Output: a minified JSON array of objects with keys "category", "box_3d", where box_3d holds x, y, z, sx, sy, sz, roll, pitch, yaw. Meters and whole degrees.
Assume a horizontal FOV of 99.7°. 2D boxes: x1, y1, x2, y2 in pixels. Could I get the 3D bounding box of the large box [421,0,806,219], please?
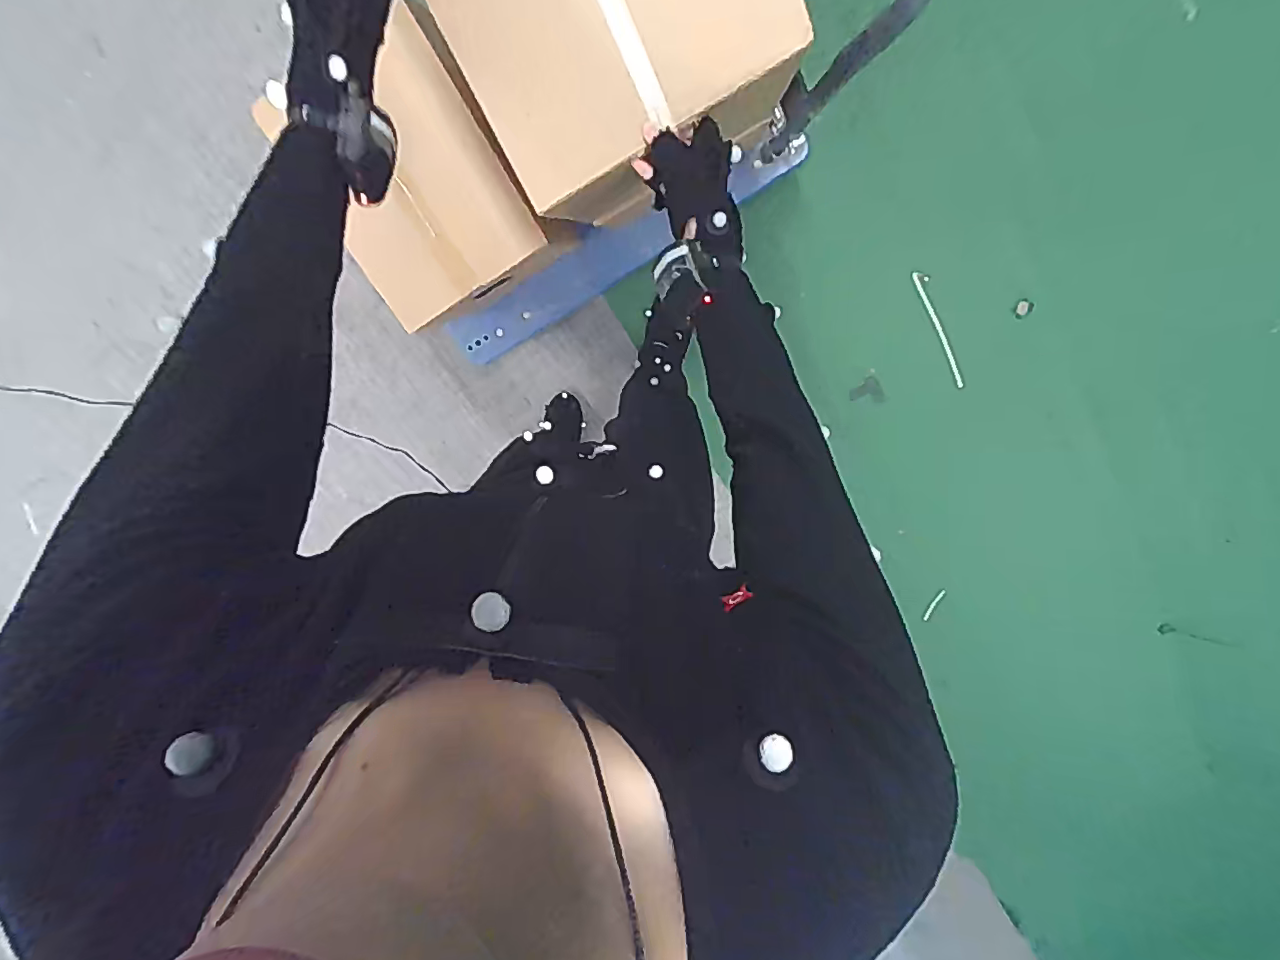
[{"category":"large box","box_3d":[-0.052,-0.568,0.609,0.320,0.320,0.408,-23,108,16]}]
